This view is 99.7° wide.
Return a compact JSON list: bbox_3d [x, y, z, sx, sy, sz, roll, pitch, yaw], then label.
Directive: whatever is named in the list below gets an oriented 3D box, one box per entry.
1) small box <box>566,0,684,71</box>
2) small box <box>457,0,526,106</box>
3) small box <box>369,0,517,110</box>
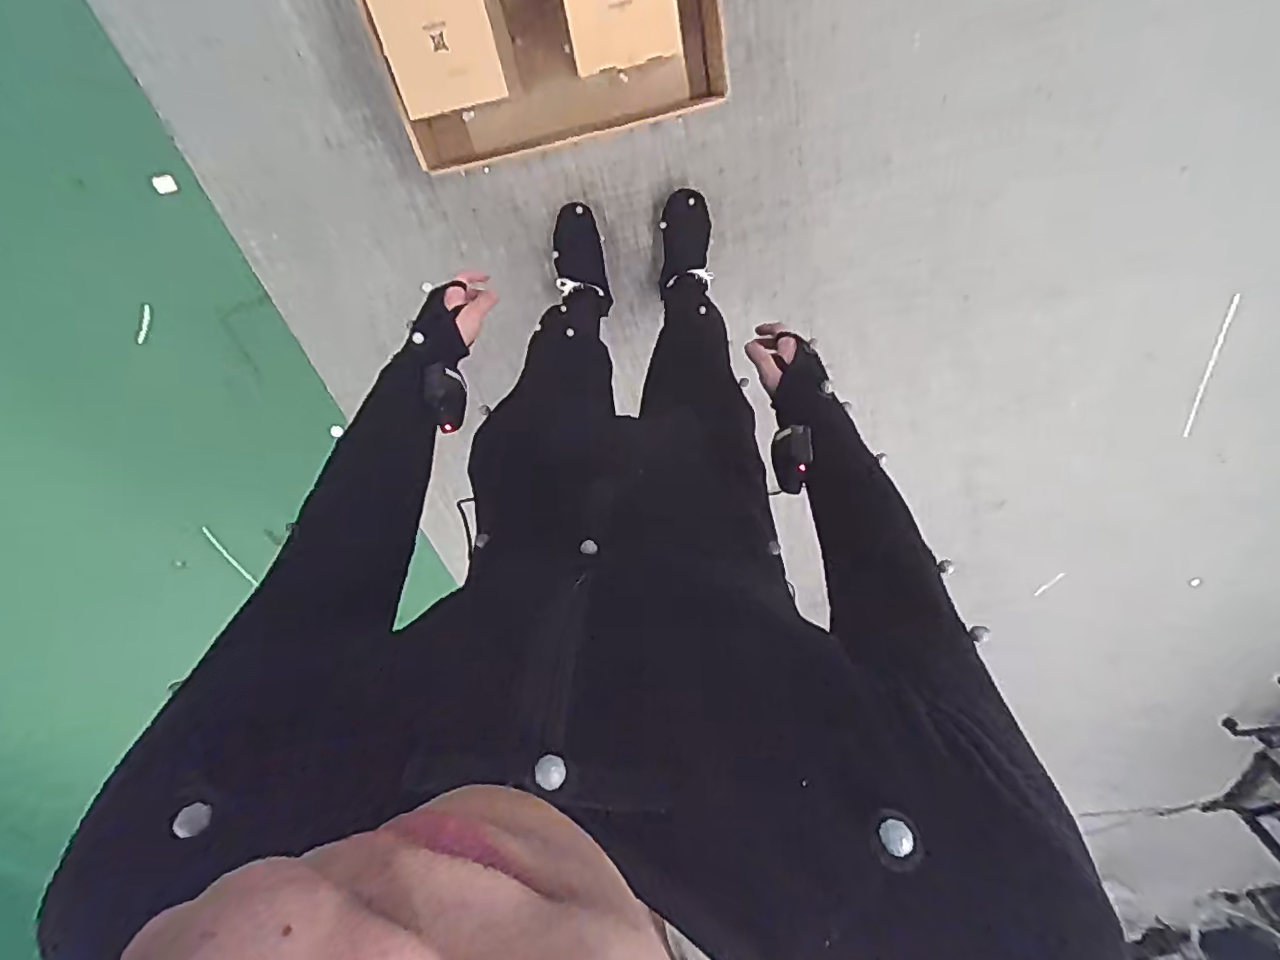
[{"bbox_3d":[-0.033,-0.759,0.840,0.168,0.176,0.179,-10,127,3],"label":"small box"},{"bbox_3d":[-0.316,-0.801,0.985,0.168,0.176,0.179,-10,125,3],"label":"small box"},{"bbox_3d":[-0.304,-0.704,0.854,0.168,0.176,0.179,-11,126,3],"label":"small box"}]
